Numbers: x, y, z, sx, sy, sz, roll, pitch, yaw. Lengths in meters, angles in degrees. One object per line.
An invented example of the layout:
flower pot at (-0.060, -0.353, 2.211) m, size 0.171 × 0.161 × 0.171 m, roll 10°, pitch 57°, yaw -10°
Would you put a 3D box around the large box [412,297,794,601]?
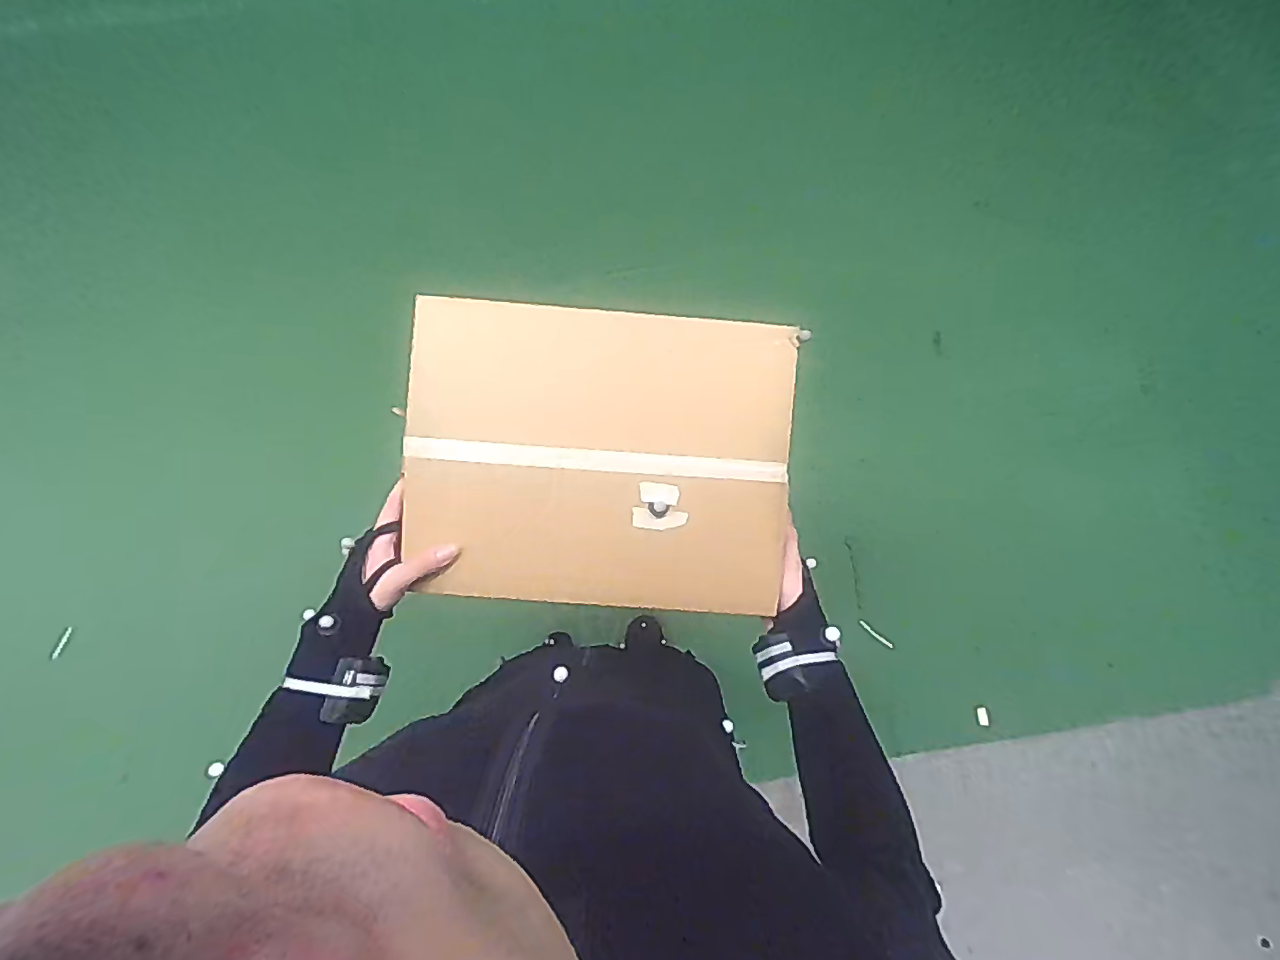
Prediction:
large box at (-0.047, -0.033, 0.731) m, size 0.408 × 0.320 × 0.320 m, roll 4°, pitch 92°, yaw -2°
